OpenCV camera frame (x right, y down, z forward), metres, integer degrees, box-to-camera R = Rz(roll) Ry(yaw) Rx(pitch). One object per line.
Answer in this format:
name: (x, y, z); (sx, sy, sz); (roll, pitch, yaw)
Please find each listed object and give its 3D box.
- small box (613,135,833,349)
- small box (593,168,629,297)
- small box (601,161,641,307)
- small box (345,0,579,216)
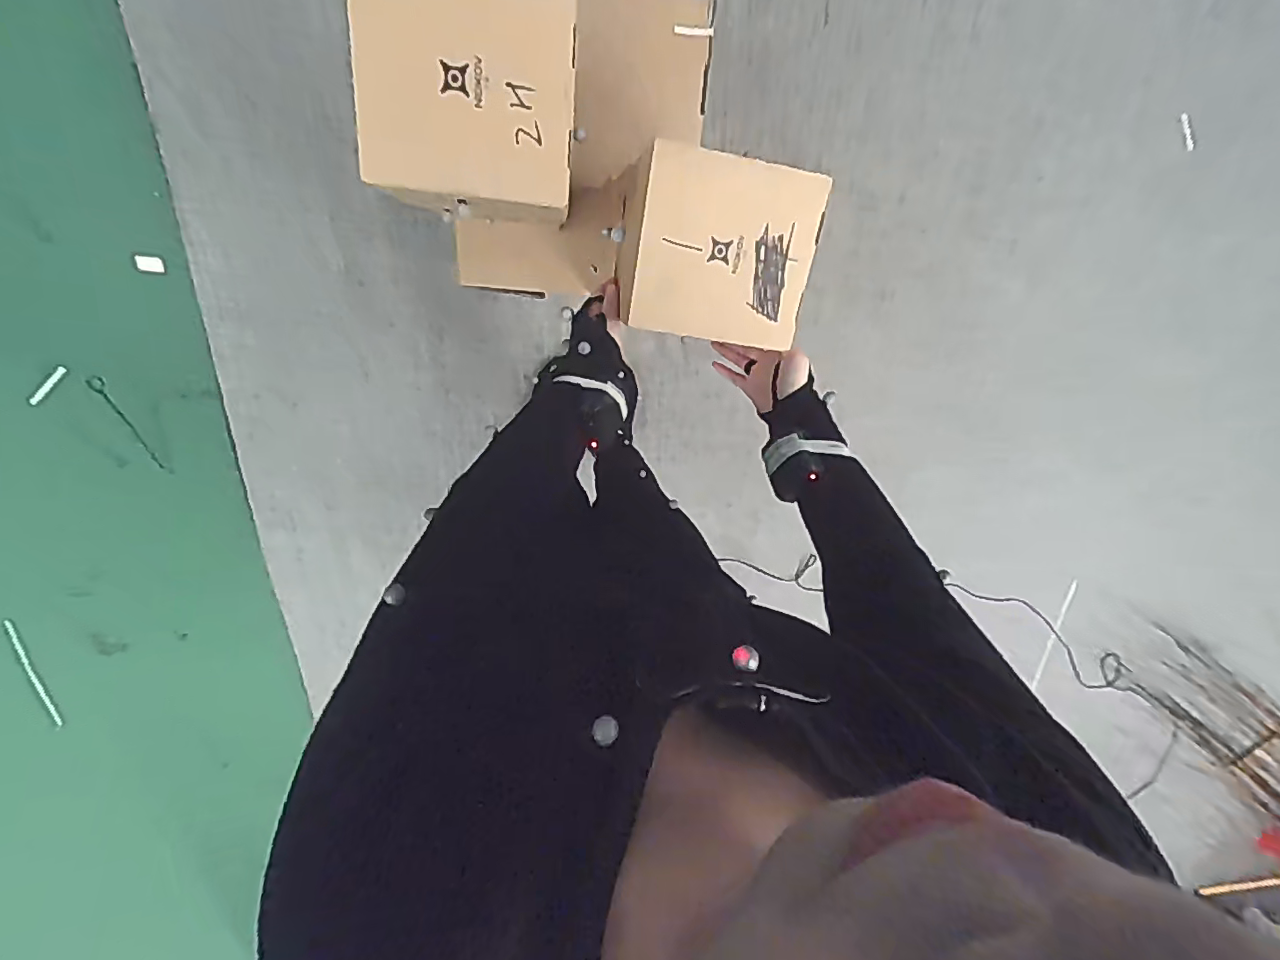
small box: (0.073, -0.249, 0.588); (0.179, 0.176, 0.168); (6, 111, -10)
small box: (0.016, -0.384, 0.881); (0.168, 0.176, 0.179); (5, 110, -11)
small box: (0.048, -0.315, 0.737); (0.179, 0.176, 0.168); (5, 111, -11)
small box: (-0.151, -0.352, 0.509); (0.179, 0.176, 0.168); (3, 112, -9)
